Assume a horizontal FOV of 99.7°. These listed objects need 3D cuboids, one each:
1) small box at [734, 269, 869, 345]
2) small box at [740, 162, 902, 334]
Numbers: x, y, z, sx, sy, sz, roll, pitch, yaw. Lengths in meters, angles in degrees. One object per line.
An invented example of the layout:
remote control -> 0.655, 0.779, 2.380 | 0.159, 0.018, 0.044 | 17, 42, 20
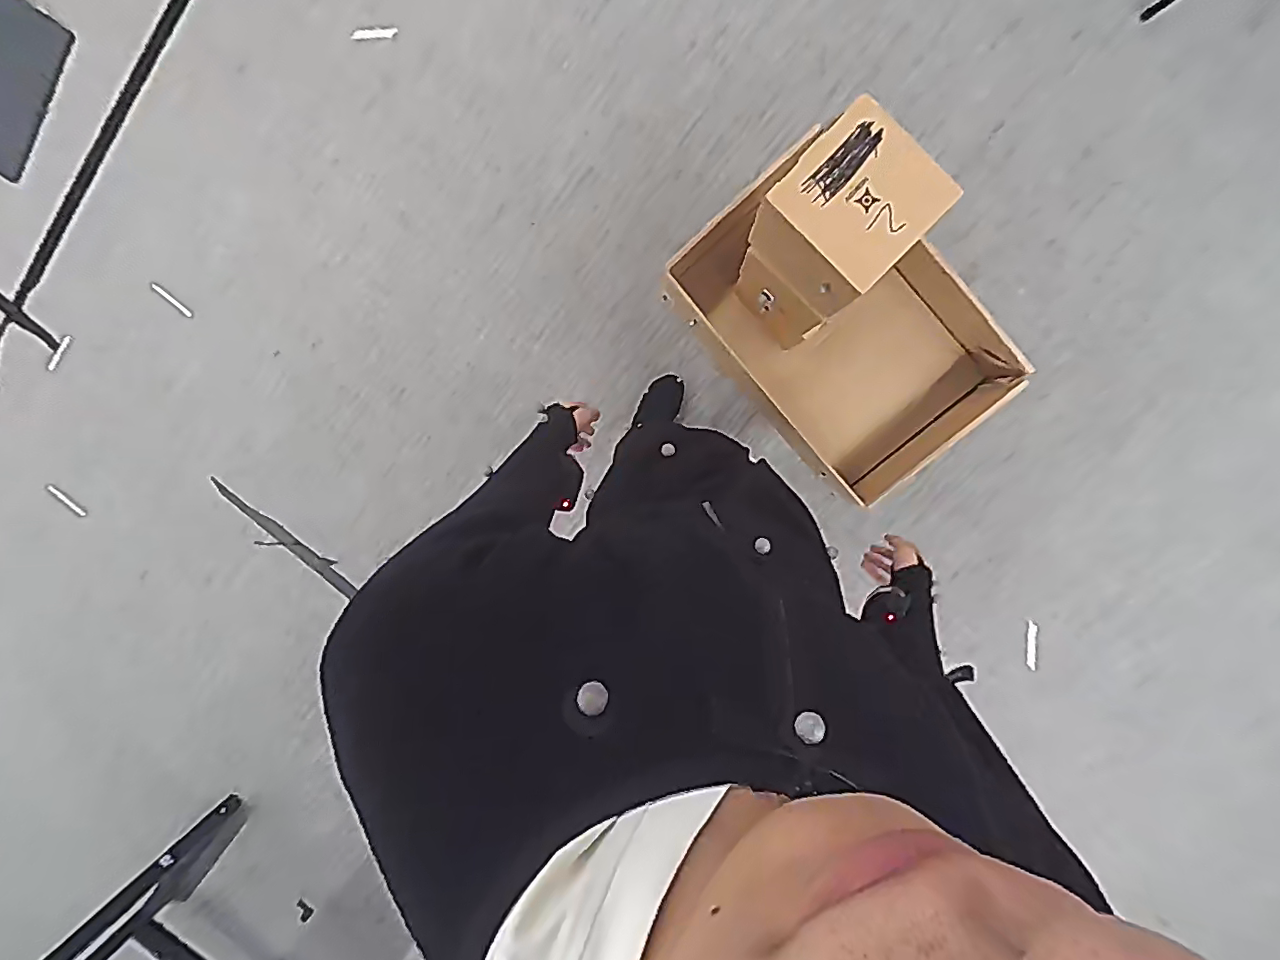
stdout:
small box -> 0.303, -0.384, 1.061 | 0.168, 0.176, 0.179 | -44, 93, 9
small box -> 0.285, -0.370, 0.899 | 0.168, 0.176, 0.179 | 43, 98, -1
